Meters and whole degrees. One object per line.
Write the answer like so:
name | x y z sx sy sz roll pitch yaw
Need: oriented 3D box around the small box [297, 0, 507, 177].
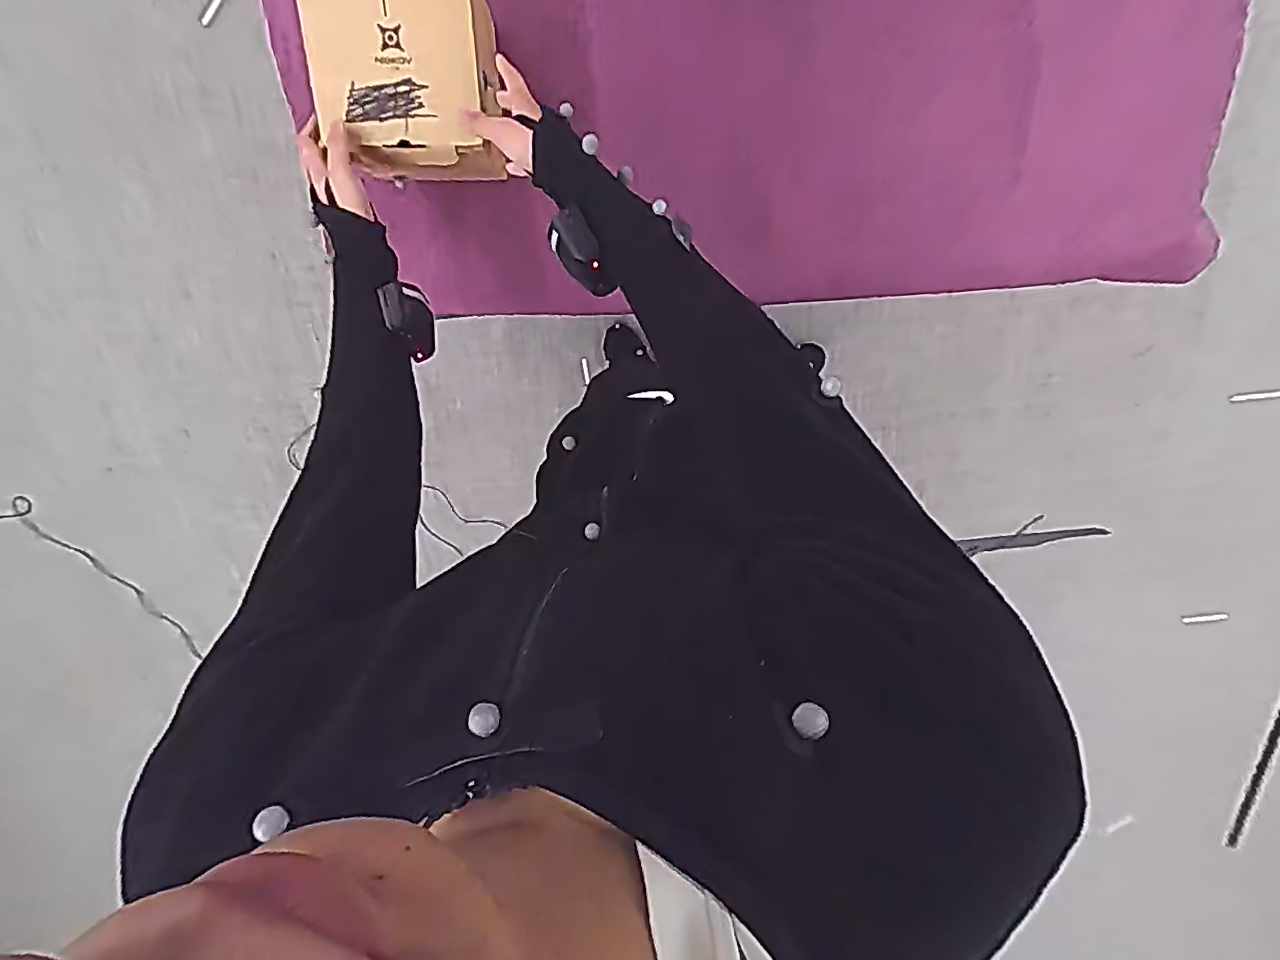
small box | -0.252 -0.452 0.610 0.168 0.176 0.179 -4 109 -4
